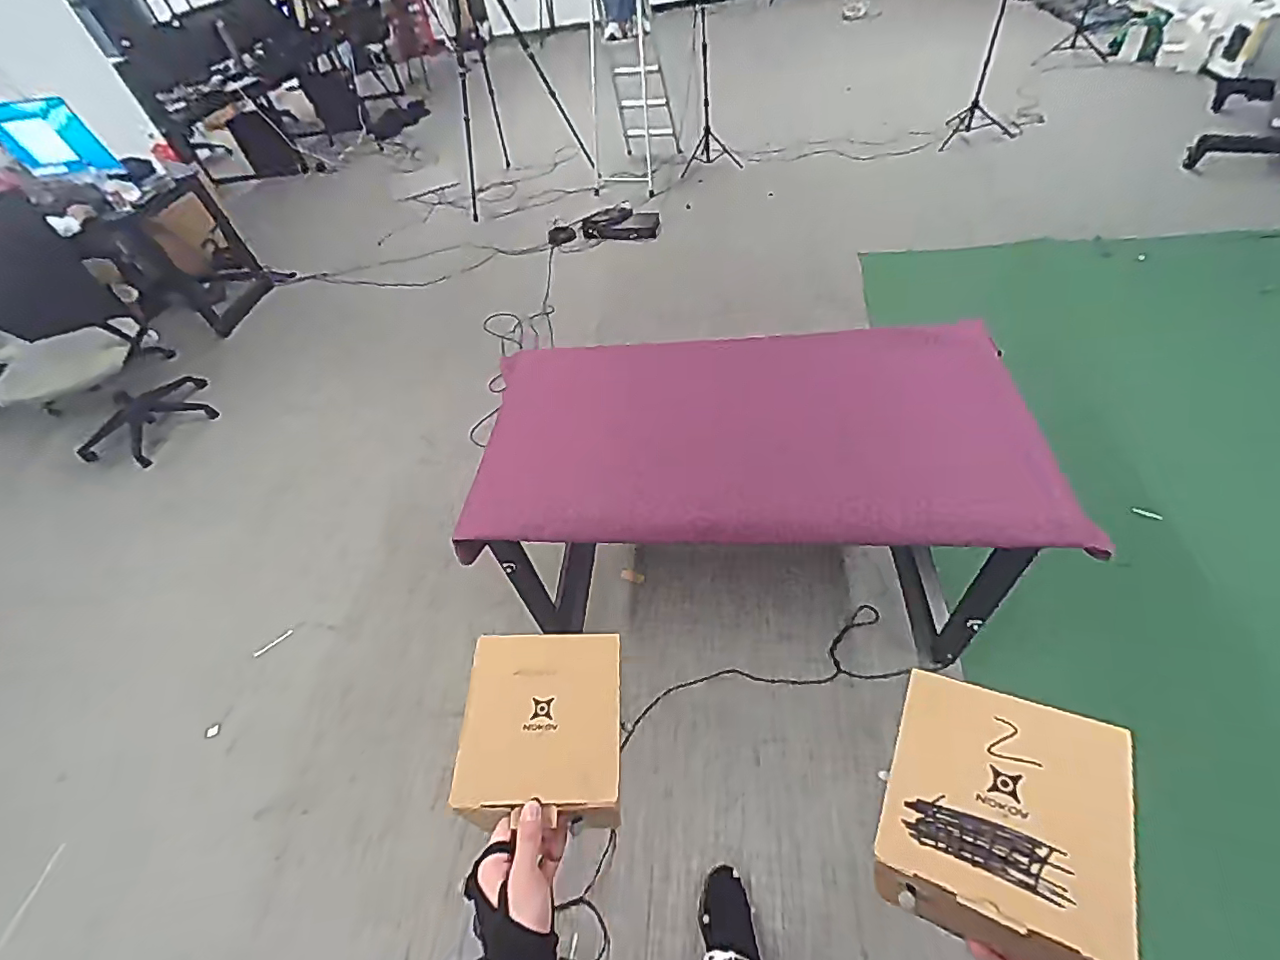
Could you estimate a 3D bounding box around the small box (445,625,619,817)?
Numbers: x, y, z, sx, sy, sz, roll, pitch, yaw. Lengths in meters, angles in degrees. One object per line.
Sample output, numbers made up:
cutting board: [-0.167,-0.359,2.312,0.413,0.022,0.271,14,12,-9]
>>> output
small box: [-0.110,0.287,0.637,0.168,0.176,0.179,1,50,-1]
